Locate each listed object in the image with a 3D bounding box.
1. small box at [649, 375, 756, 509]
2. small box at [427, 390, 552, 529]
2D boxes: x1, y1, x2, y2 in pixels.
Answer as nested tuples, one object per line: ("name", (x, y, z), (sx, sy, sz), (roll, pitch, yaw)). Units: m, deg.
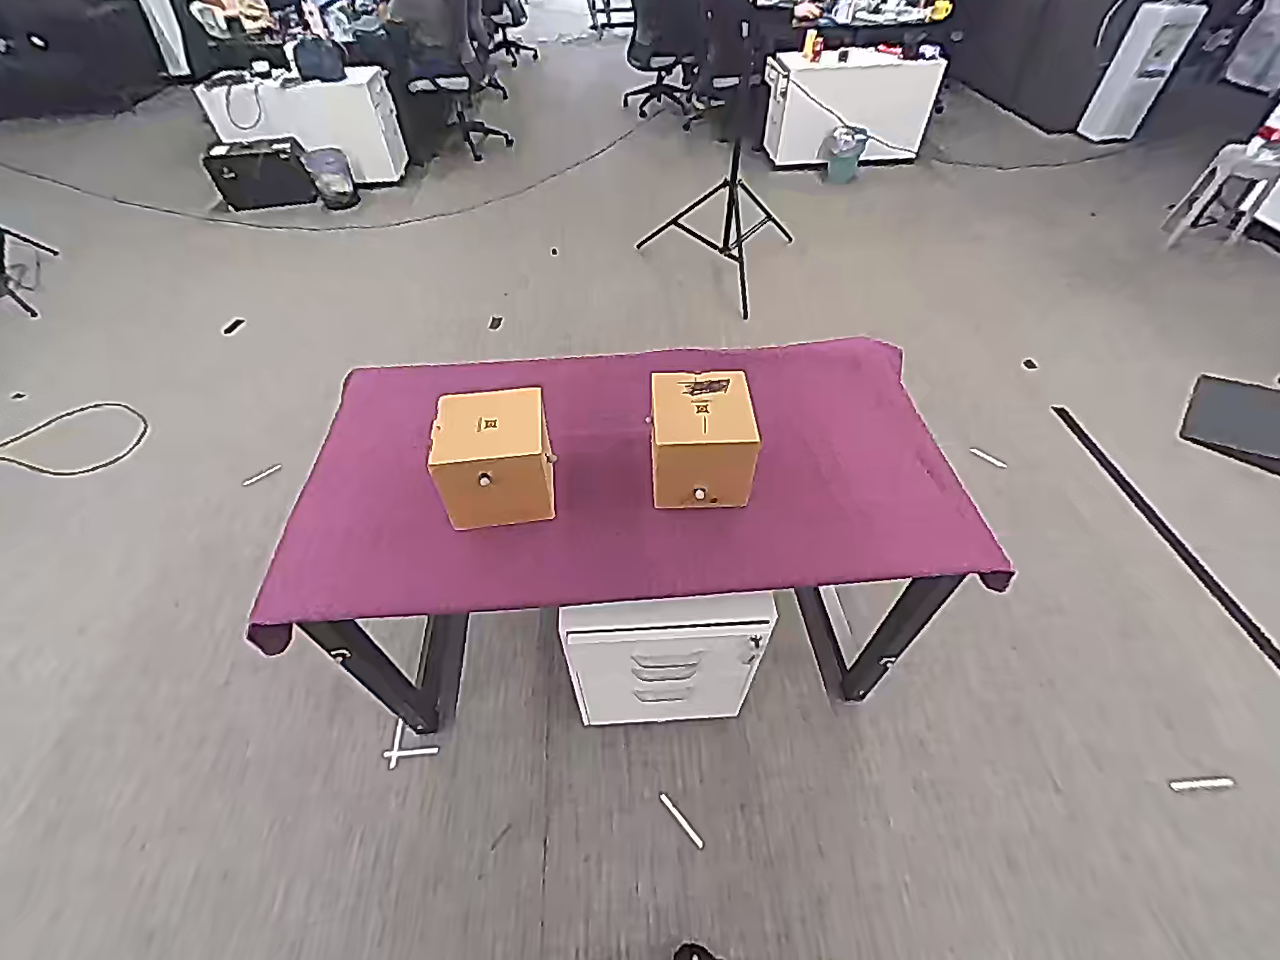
("small box", (0.101, -0.066, 0.963), (0.168, 0.176, 0.179), (-2, 50, 0))
("small box", (-0.248, -0.033, 0.942), (0.179, 0.176, 0.168), (-7, 49, -4))
